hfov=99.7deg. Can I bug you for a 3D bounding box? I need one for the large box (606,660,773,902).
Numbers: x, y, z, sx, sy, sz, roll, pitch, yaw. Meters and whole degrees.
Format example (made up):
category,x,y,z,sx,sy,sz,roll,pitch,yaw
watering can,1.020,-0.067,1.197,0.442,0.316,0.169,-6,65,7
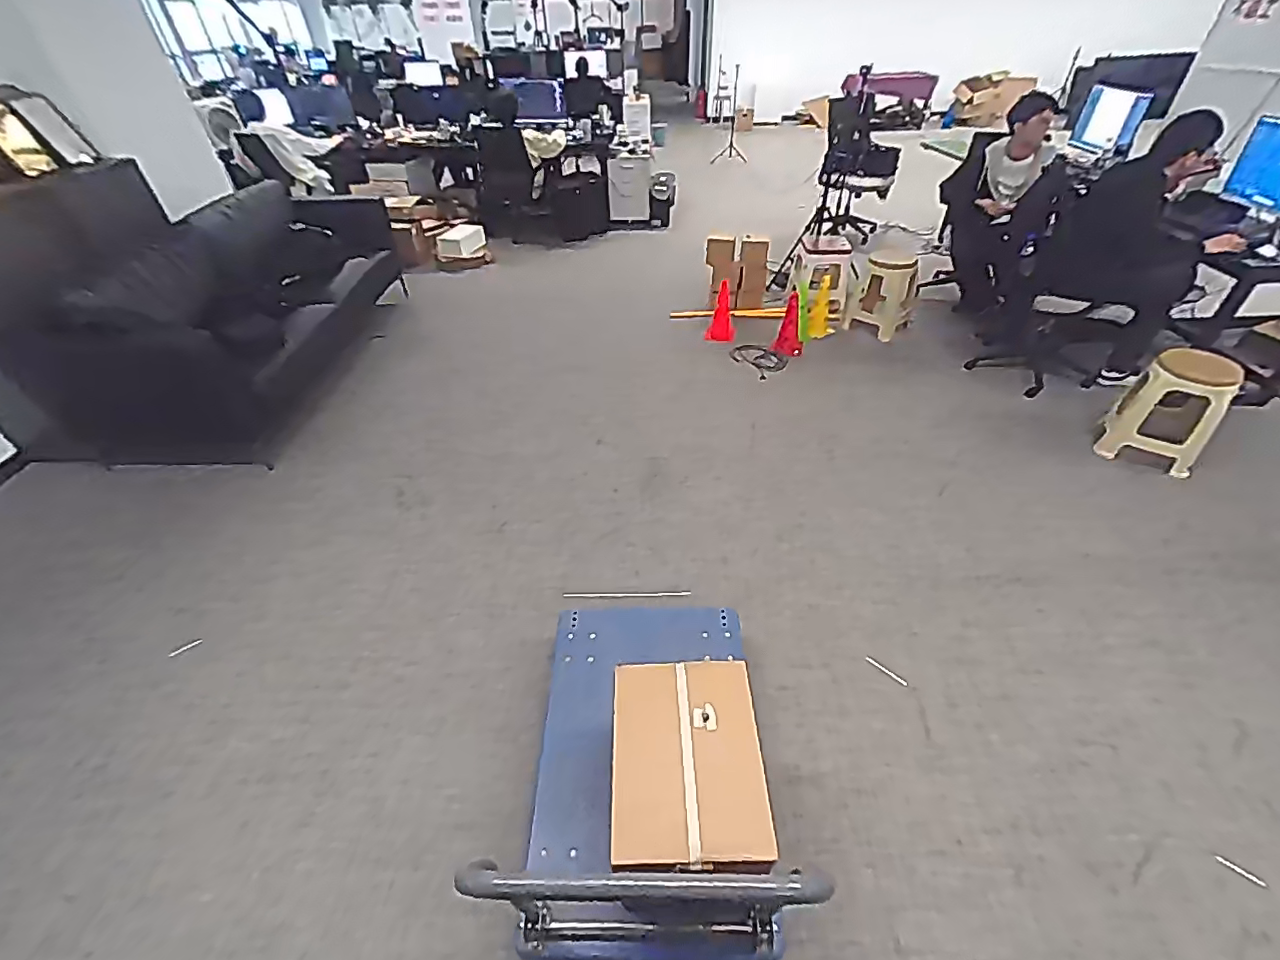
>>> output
category,x,y,z,sx,sy,sz,roll,pitch,yaw
large box,0.093,0.679,1.237,0.320,0.320,0.408,-1,41,0
